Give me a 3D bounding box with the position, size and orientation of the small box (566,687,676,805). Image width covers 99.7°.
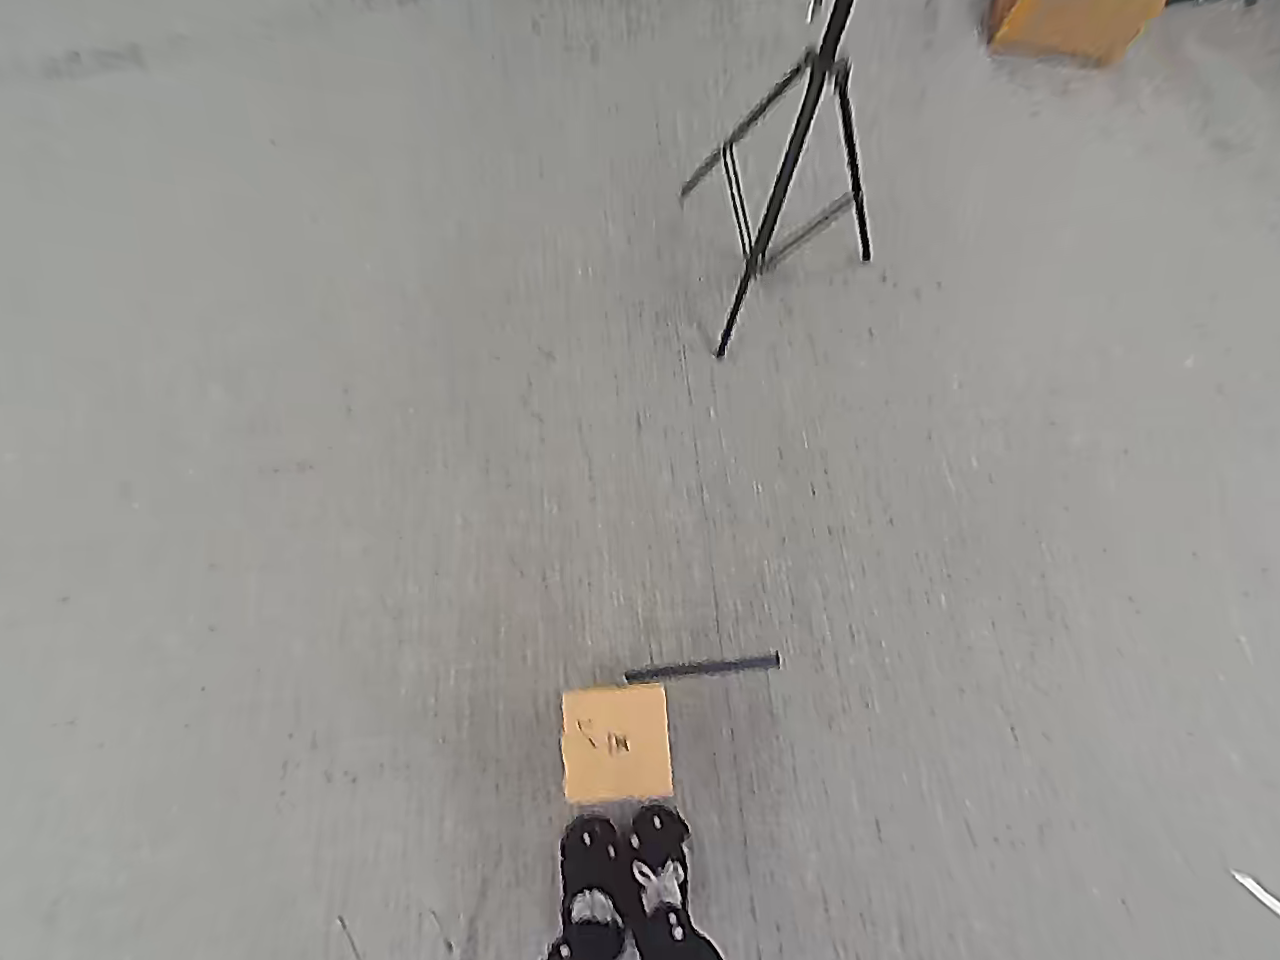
[{"bbox_3d":[-0.036,0.461,0.960,0.179,0.176,0.168,-3,70,-3],"label":"small box"}]
